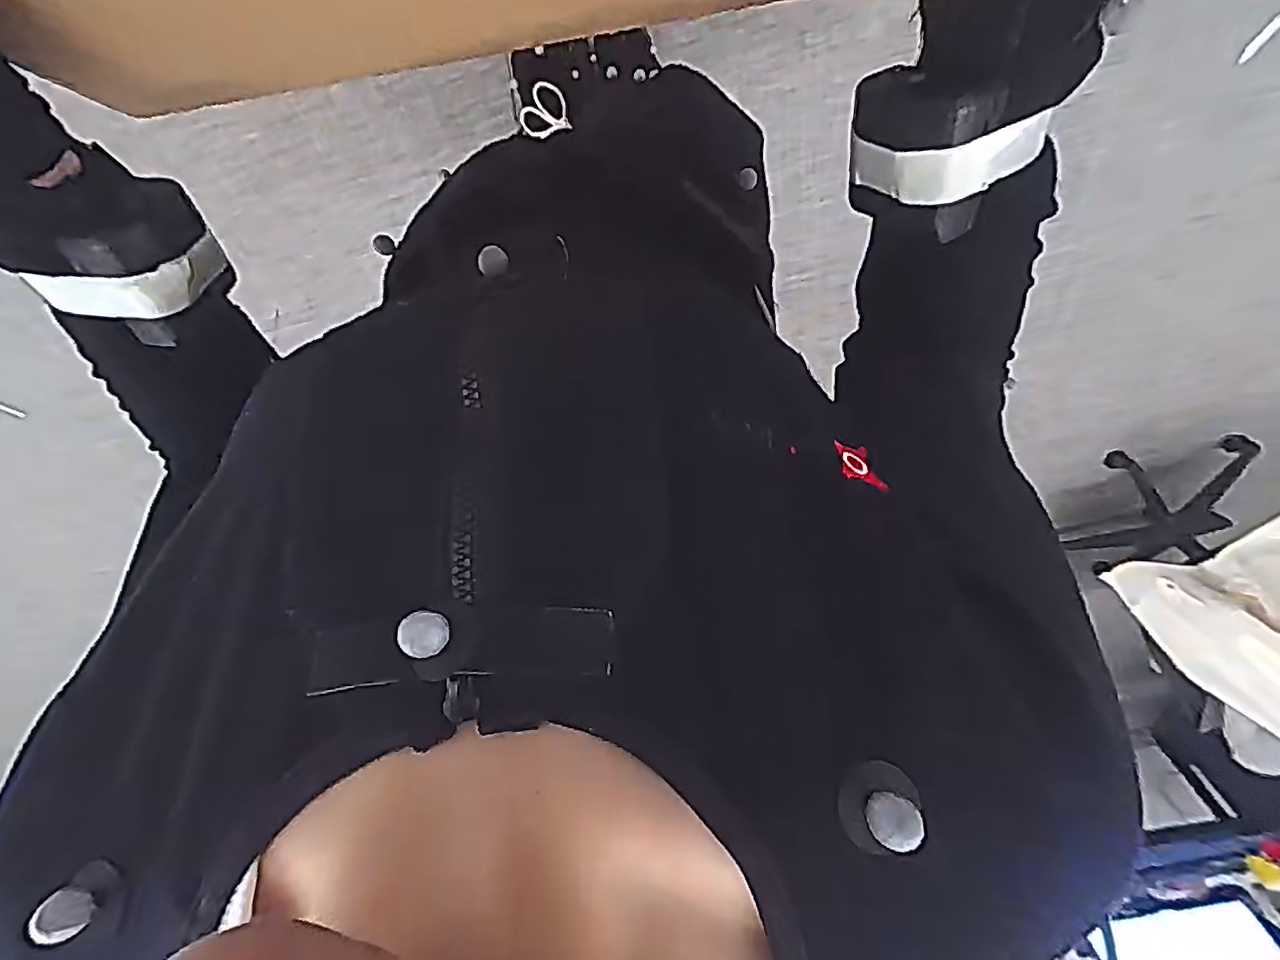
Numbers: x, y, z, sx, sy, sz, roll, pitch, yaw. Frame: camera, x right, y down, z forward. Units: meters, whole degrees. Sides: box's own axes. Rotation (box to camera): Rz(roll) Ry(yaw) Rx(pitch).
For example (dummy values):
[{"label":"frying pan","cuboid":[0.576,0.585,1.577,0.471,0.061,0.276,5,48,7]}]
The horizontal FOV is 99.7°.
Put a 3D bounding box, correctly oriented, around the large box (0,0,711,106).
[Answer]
[{"label":"large box","cuboid":[-0.088,-0.336,0.094,0.408,0.320,0.320,-8,103,3]}]
